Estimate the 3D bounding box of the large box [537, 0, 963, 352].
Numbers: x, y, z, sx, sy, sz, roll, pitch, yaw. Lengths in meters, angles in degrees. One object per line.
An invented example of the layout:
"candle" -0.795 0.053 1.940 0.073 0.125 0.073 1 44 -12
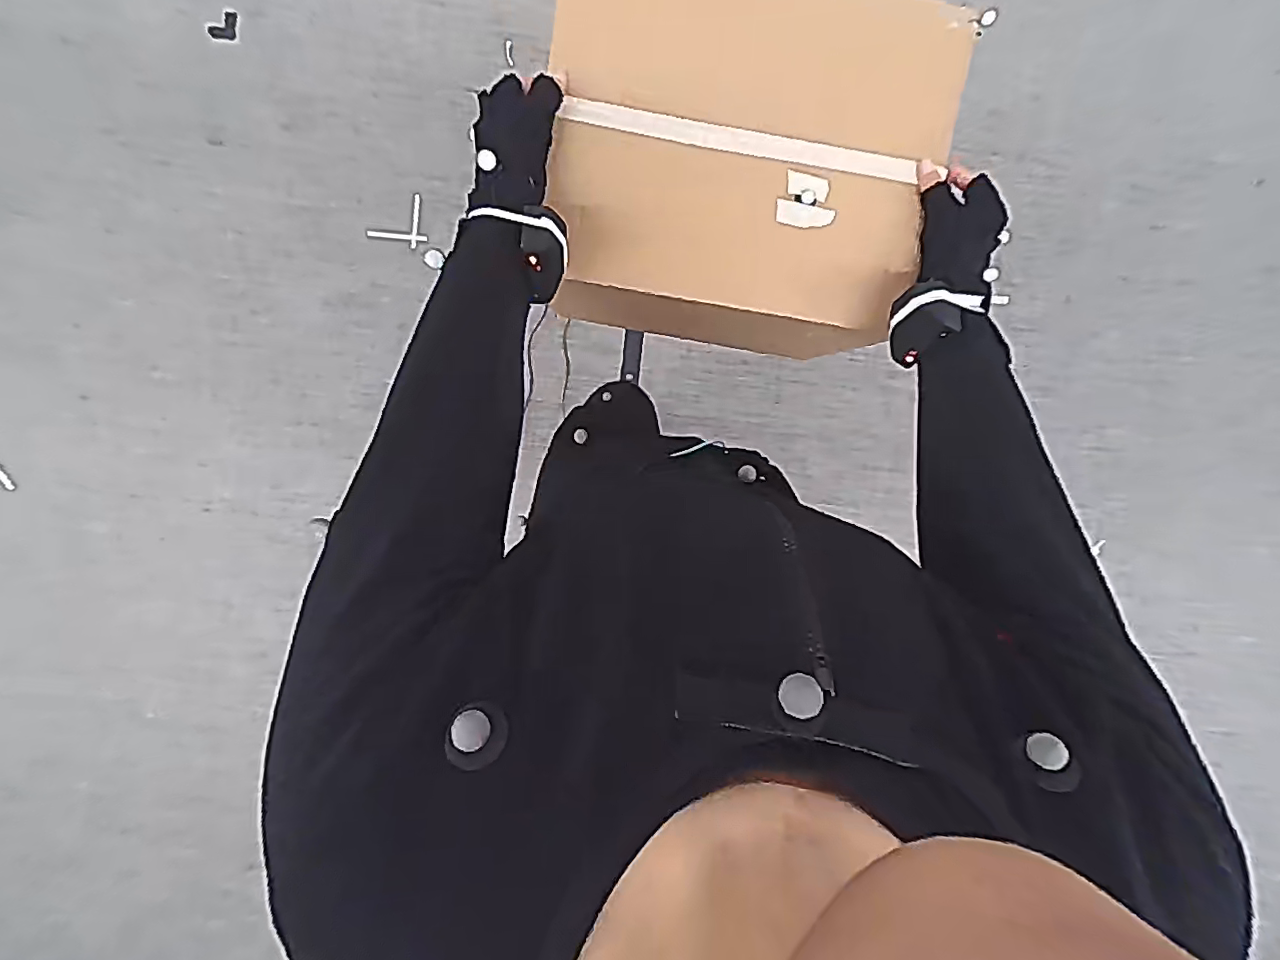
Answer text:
"large box" 0.100 -0.360 0.695 0.408 0.320 0.320 9 99 -4
